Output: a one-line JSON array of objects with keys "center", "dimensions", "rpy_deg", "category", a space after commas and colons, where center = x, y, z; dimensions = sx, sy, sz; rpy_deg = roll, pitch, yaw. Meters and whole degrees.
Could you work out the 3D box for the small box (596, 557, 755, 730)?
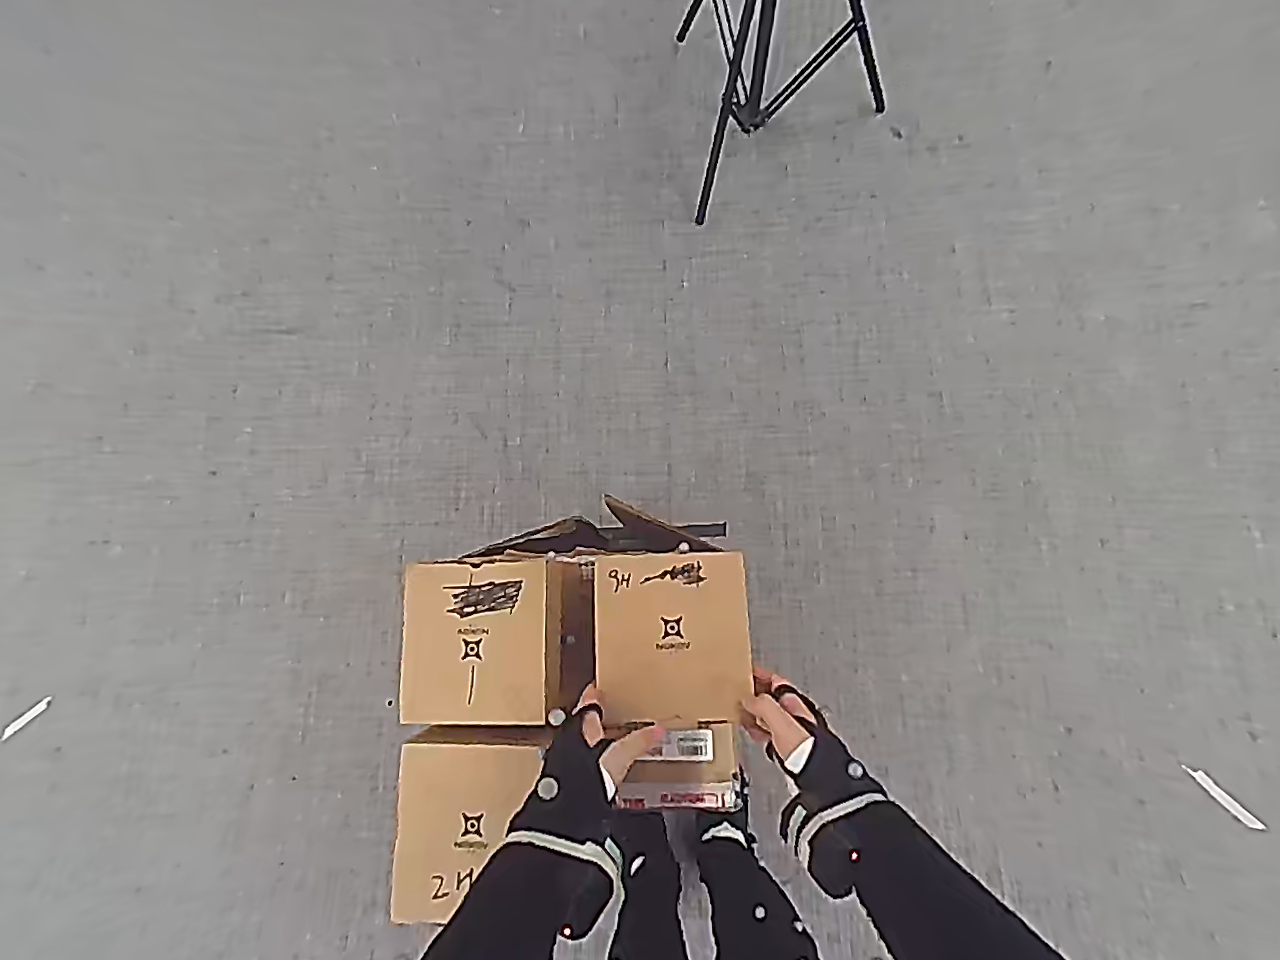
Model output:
[{"center": [0.042, 0.188, 0.651], "dimensions": [0.168, 0.176, 0.179], "rpy_deg": [-3, 77, 4], "category": "small box"}]
